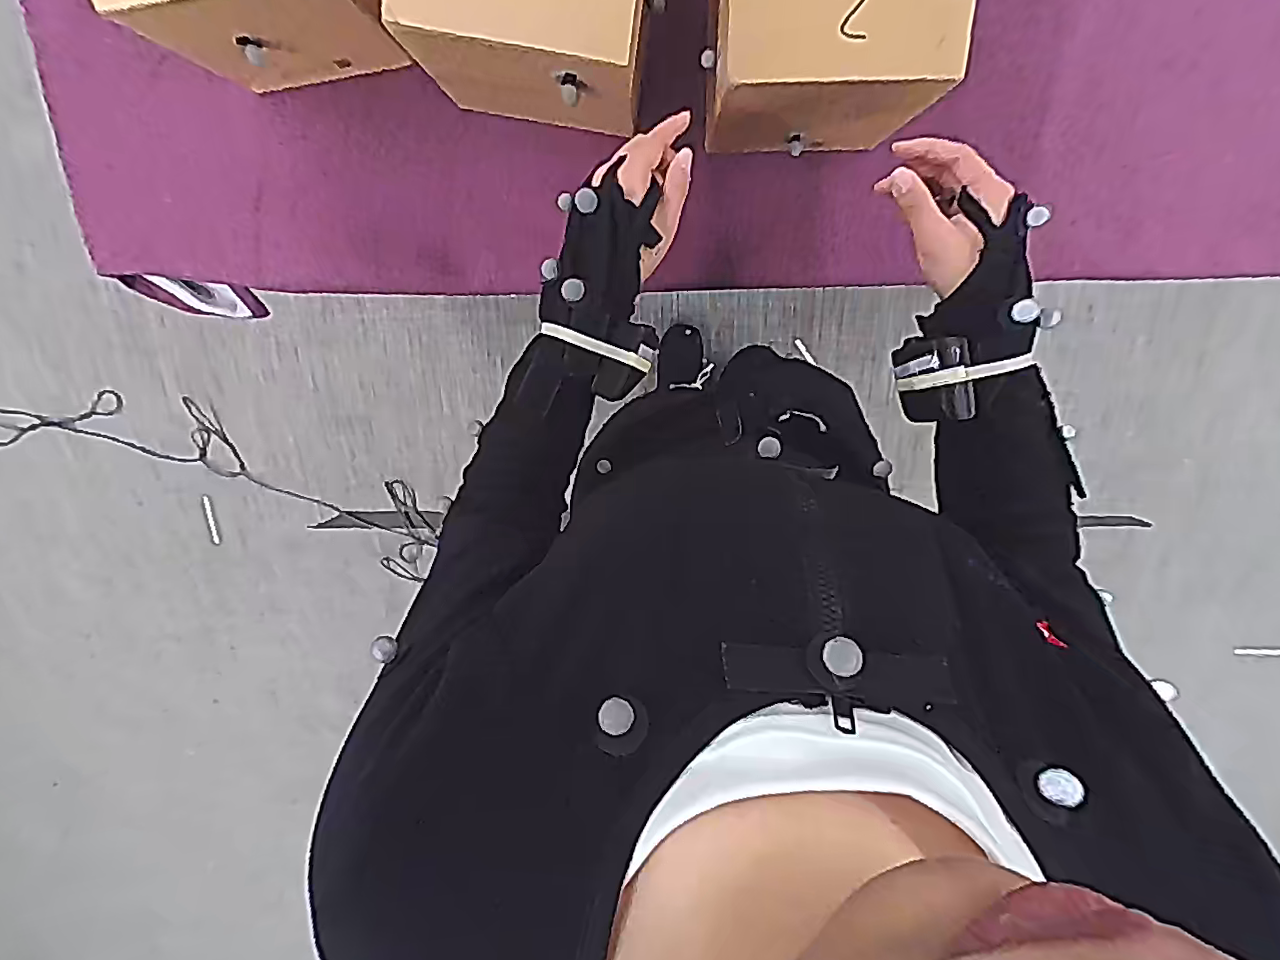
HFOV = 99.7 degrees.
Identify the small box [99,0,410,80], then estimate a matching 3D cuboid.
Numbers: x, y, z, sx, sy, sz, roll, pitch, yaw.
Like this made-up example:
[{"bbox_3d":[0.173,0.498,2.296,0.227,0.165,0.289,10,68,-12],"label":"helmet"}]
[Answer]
[{"bbox_3d":[-0.307,-0.446,0.421,0.168,0.176,0.179,-8,108,4],"label":"small box"}]
